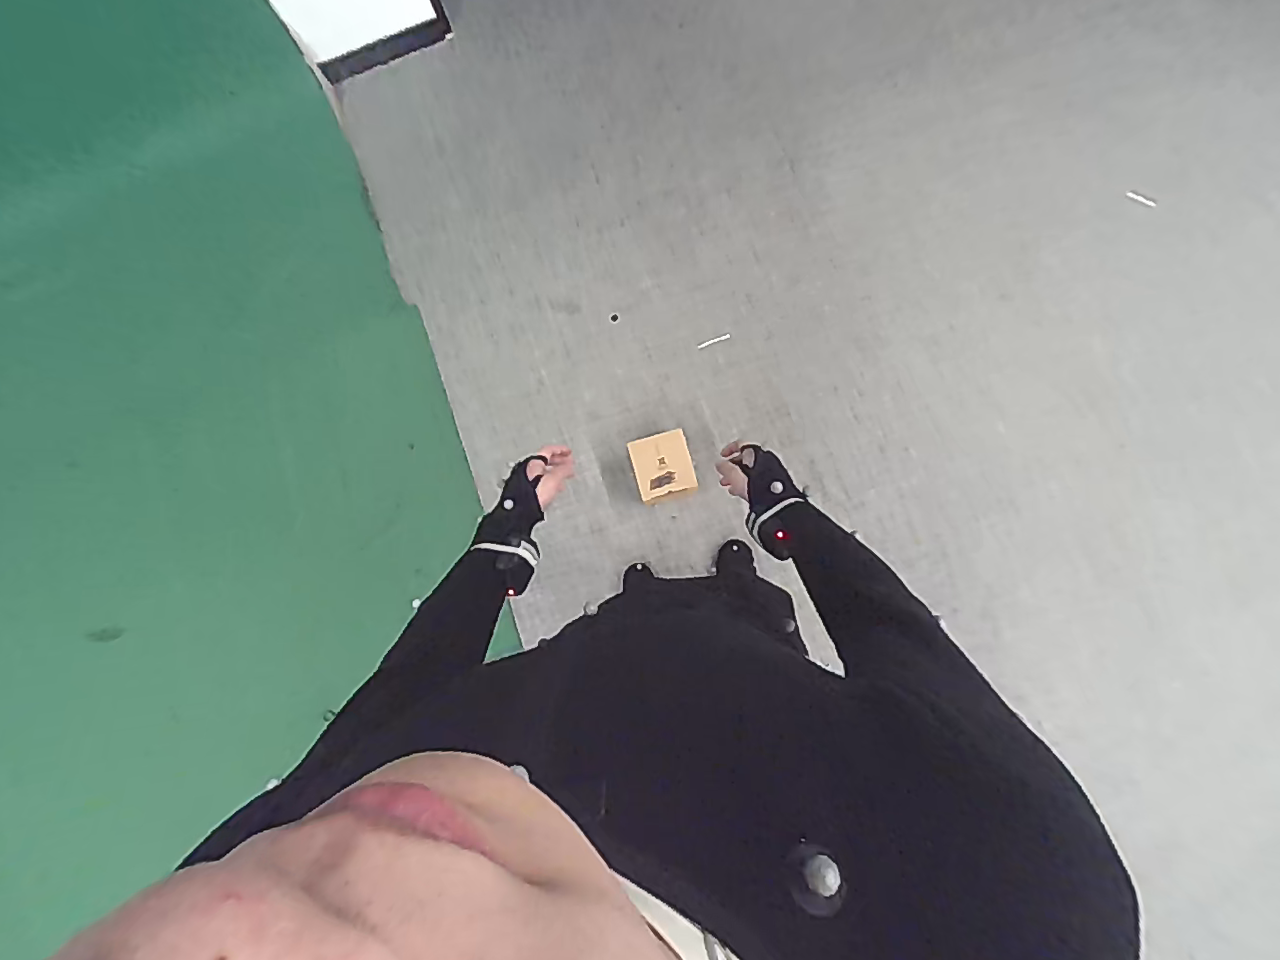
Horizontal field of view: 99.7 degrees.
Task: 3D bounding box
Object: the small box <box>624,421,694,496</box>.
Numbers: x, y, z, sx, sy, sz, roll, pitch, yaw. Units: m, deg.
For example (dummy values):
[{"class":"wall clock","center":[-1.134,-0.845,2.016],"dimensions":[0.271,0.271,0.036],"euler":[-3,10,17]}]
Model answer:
[{"class":"small box","center":[0.059,-0.056,1.597],"dimensions":[0.168,0.176,0.179],"euler":[-15,81,1]}]
